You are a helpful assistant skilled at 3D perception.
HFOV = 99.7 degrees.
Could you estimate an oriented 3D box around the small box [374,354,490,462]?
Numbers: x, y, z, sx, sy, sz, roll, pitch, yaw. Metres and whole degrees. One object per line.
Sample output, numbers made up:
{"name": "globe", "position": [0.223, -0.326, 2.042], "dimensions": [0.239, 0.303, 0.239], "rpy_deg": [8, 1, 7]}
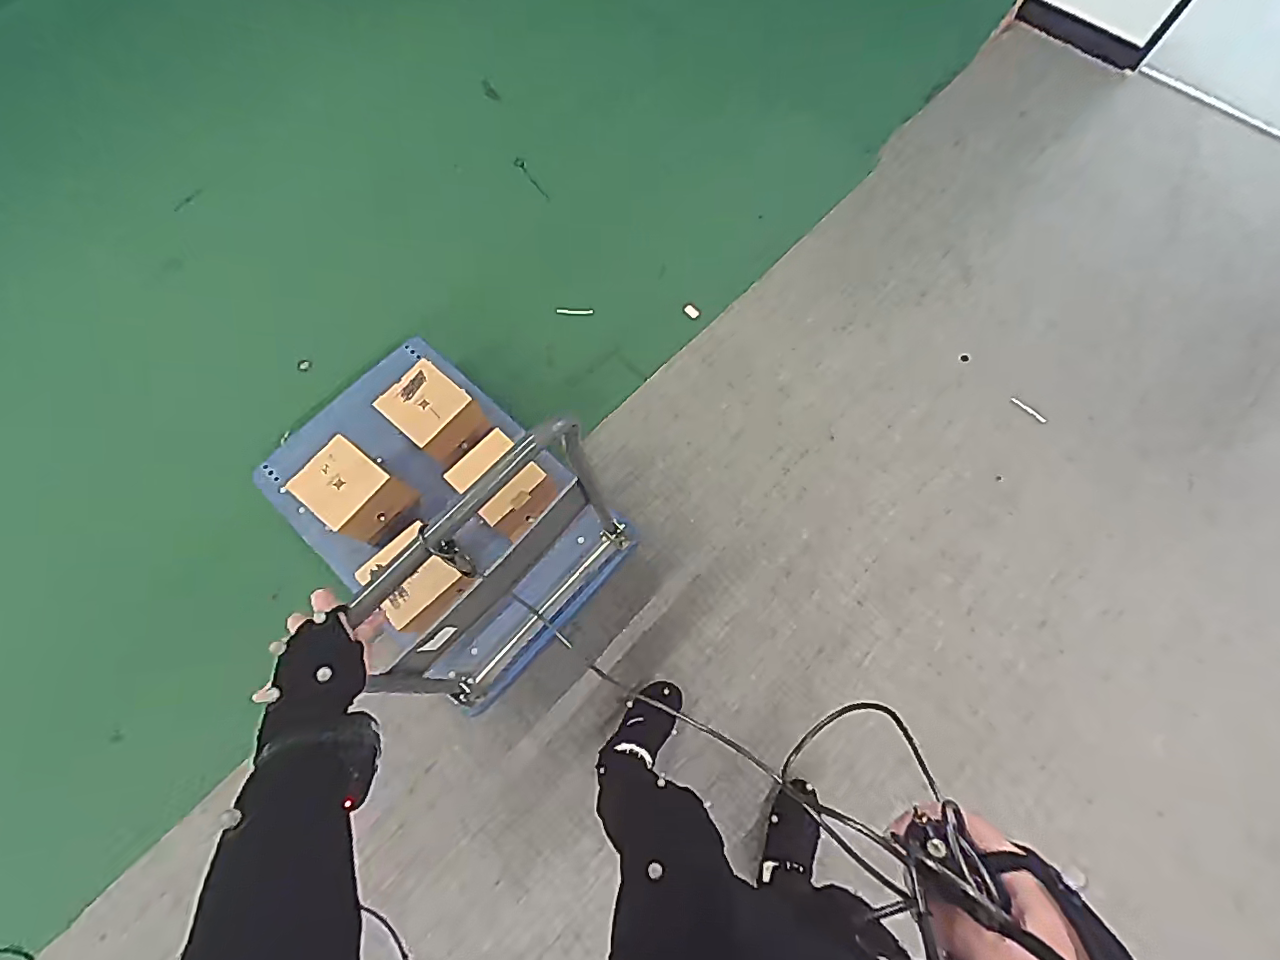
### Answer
{"name": "small box", "position": [-0.507, -0.172, 1.343], "dimensions": [0.179, 0.176, 0.168], "rpy_deg": [39, 78, 12]}

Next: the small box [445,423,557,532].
{"name": "small box", "position": [-0.321, 0.002, 1.282], "dimensions": [0.179, 0.176, 0.168], "rpy_deg": [42, 78, 13]}

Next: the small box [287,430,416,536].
{"name": "small box", "position": [-0.674, 0.016, 1.289], "dimensions": [0.179, 0.176, 0.168], "rpy_deg": [37, 76, 12]}
